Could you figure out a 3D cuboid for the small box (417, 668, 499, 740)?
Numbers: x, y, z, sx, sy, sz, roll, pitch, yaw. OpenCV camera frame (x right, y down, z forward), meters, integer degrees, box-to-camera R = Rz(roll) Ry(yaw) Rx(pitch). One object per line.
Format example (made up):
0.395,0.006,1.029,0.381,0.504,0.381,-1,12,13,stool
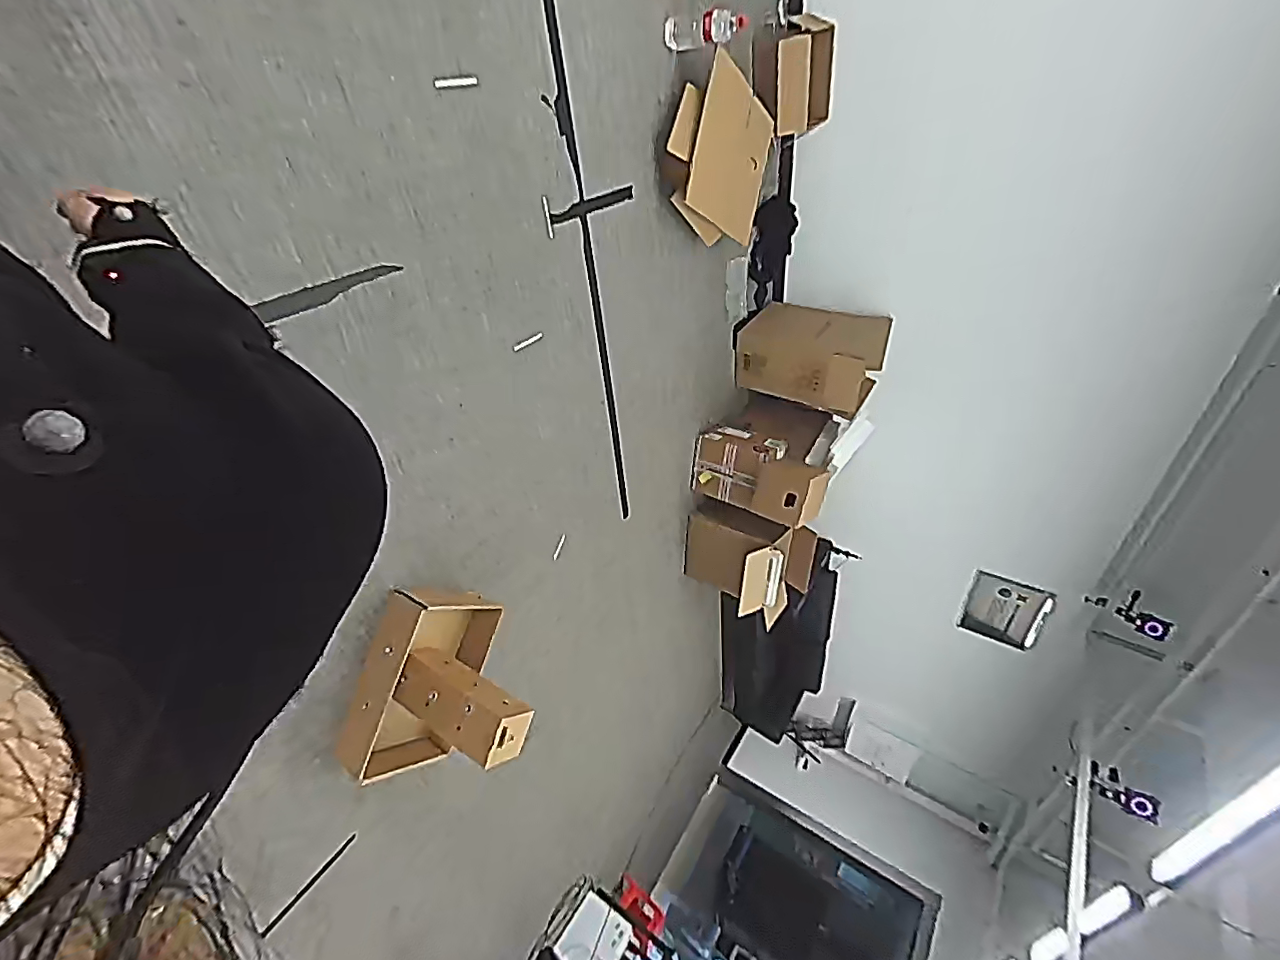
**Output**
-0.629,0.768,1.875,0.179,0.176,0.168,27,82,-60,small box

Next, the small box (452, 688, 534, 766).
-0.490,0.813,1.800,0.179,0.176,0.168,25,84,-62,small box

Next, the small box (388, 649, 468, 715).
-0.764,0.721,1.953,0.179,0.176,0.168,30,80,-60,small box
